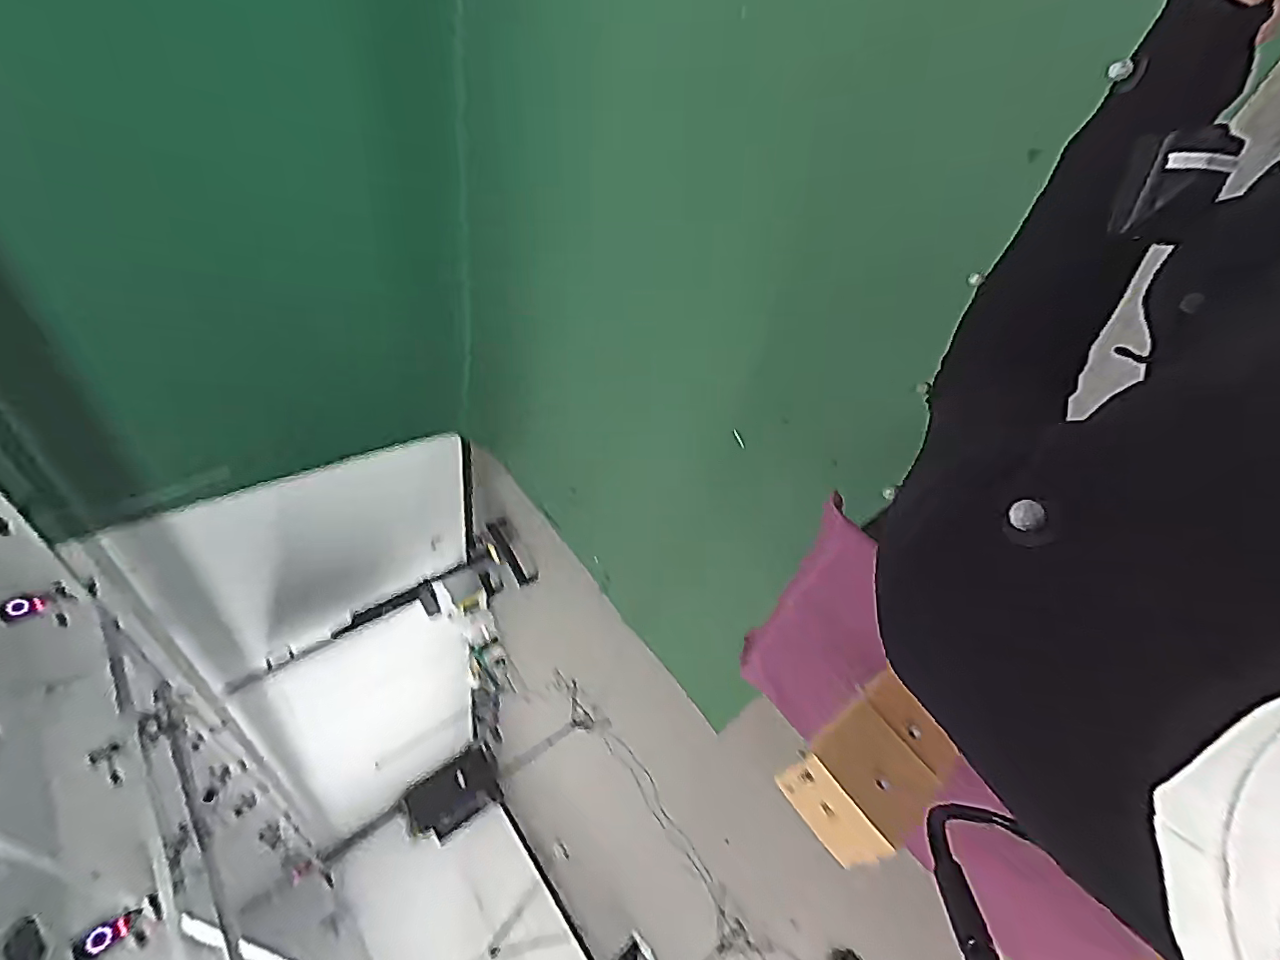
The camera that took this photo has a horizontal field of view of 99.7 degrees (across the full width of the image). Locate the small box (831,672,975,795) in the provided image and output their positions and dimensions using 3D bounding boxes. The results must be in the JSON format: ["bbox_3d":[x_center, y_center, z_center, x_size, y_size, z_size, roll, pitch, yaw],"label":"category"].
[{"bbox_3d":[0.508,0.508,1.067,0.179,0.176,0.168,46,139,24],"label":"small box"}]

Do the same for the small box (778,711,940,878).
[{"bbox_3d":[0.389,0.554,0.963,0.179,0.176,0.168,46,139,24],"label":"small box"}]
